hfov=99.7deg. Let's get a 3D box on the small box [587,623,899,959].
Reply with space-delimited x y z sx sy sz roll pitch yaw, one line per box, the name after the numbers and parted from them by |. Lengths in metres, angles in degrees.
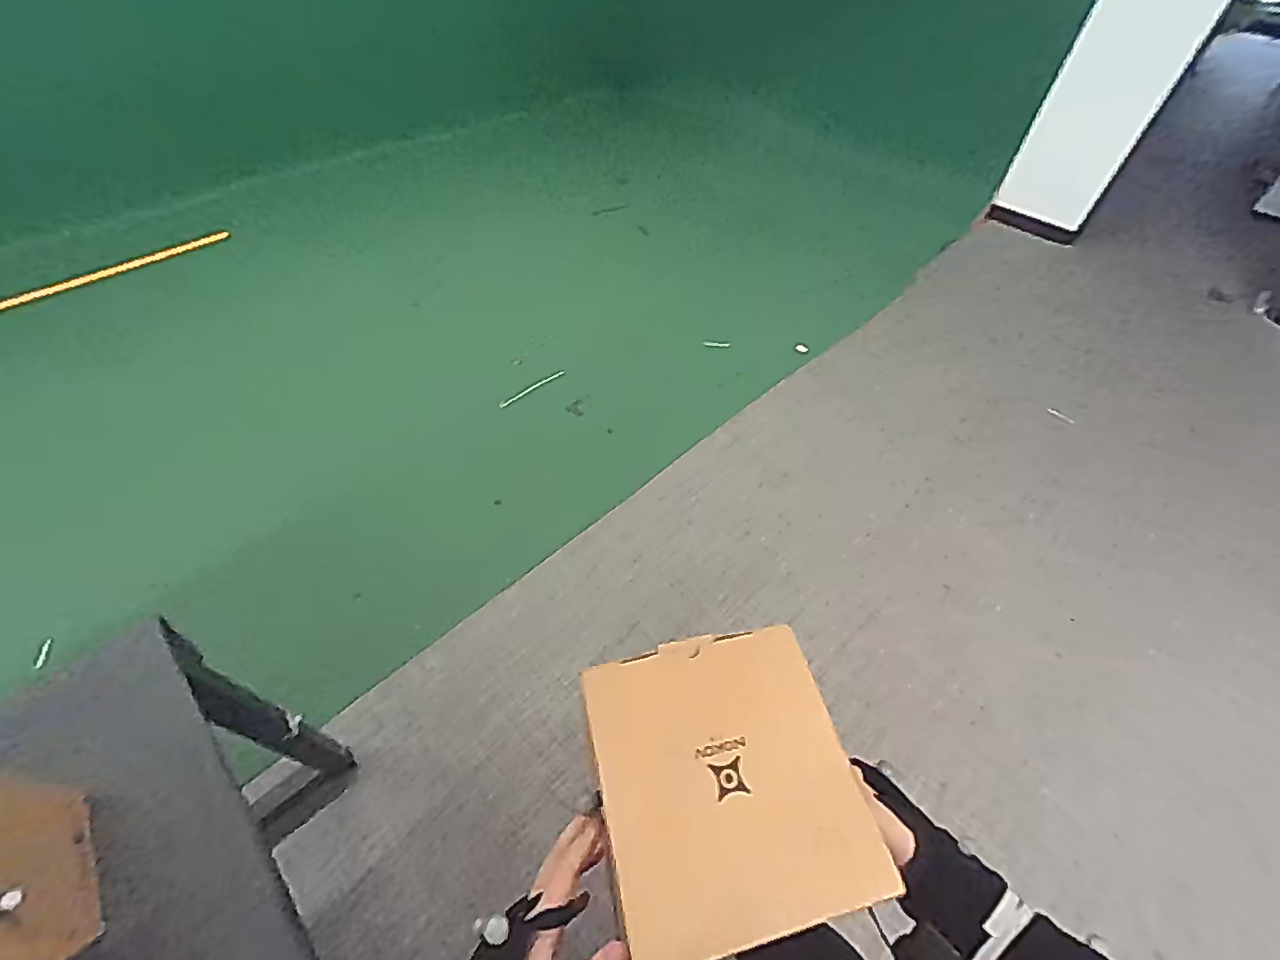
0.056 0.239 0.421 0.168 0.176 0.179 -9 52 -11 | small box
